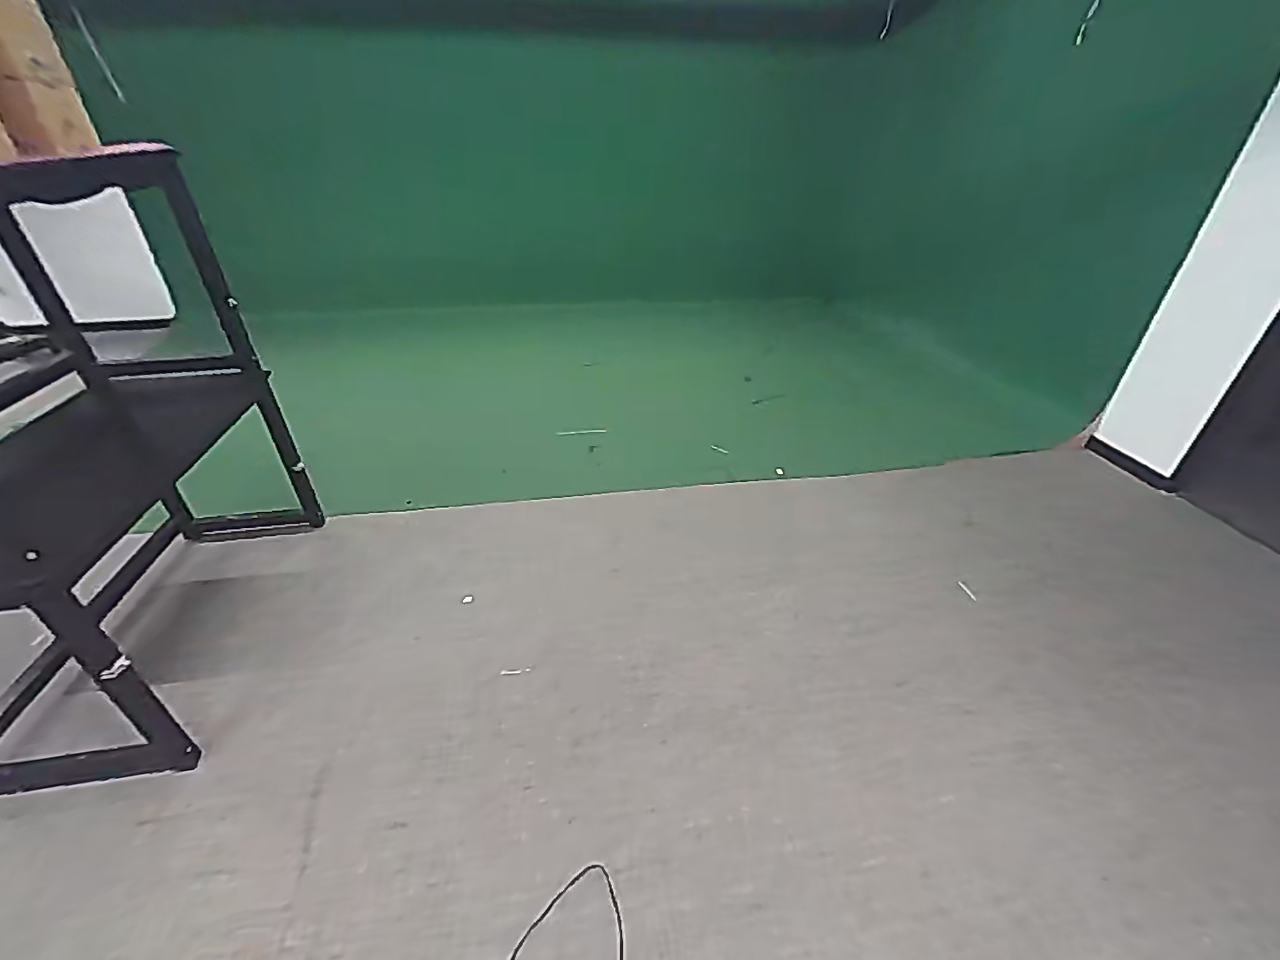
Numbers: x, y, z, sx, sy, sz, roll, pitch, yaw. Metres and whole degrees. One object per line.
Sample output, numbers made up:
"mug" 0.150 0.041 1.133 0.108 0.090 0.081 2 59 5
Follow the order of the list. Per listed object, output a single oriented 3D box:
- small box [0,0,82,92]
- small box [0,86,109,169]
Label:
"small box" -1.541 -1.047 1.308 0.179 0.176 0.168 -2 35 -6
"small box" -1.542 -0.905 1.389 0.179 0.176 0.168 -4 33 -8
